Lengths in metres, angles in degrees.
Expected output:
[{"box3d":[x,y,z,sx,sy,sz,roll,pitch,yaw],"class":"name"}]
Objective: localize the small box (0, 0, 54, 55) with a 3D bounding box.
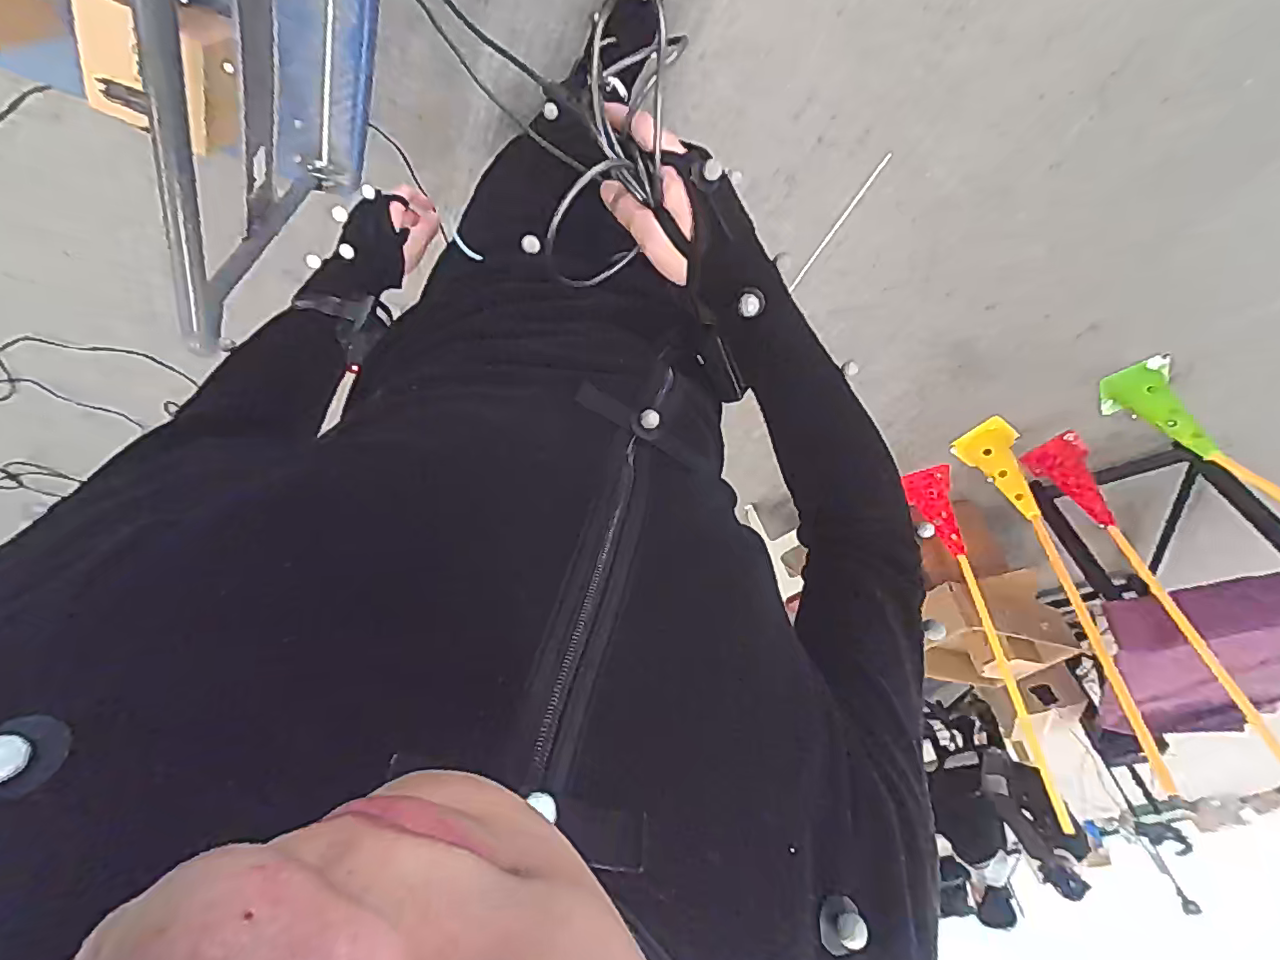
[{"box3d":[-1.035,-0.776,0.798,0.179,0.176,0.168,12,134,-18],"class":"small box"}]
